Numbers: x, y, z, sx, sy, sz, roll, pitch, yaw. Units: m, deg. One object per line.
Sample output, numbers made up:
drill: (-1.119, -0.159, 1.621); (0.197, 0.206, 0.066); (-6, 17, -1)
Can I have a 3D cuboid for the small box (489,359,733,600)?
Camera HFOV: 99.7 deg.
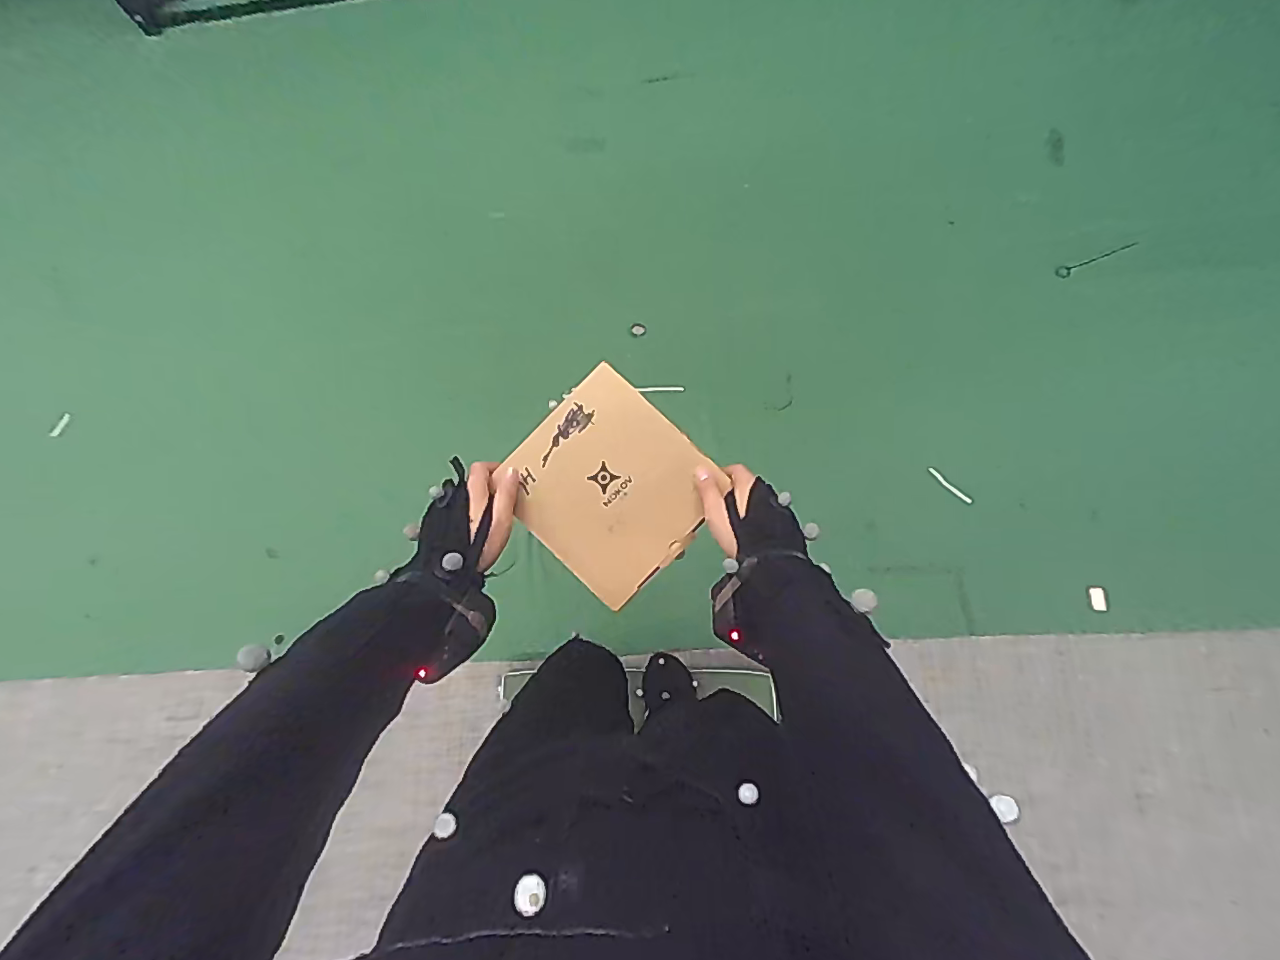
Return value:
small box: (-0.027, 0.002, 0.592); (0.179, 0.176, 0.168); (44, 87, 3)
